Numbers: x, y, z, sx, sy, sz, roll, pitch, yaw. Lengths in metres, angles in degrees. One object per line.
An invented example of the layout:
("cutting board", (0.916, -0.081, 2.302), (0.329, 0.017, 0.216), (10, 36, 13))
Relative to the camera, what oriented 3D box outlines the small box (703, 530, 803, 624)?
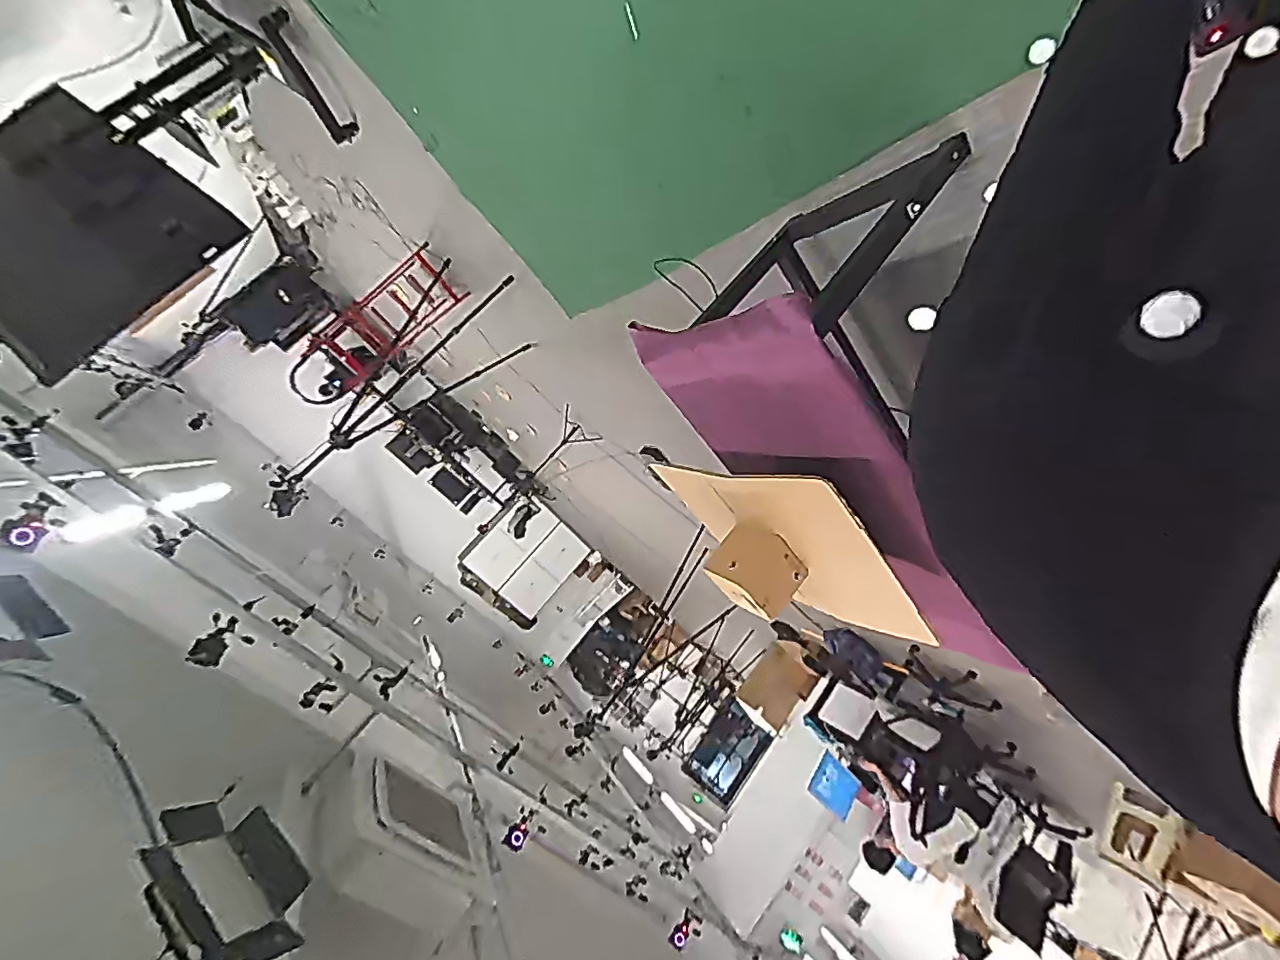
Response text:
("small box", (0.311, 0.254, 1.455), (0.168, 0.176, 0.179), (47, 163, -22))
